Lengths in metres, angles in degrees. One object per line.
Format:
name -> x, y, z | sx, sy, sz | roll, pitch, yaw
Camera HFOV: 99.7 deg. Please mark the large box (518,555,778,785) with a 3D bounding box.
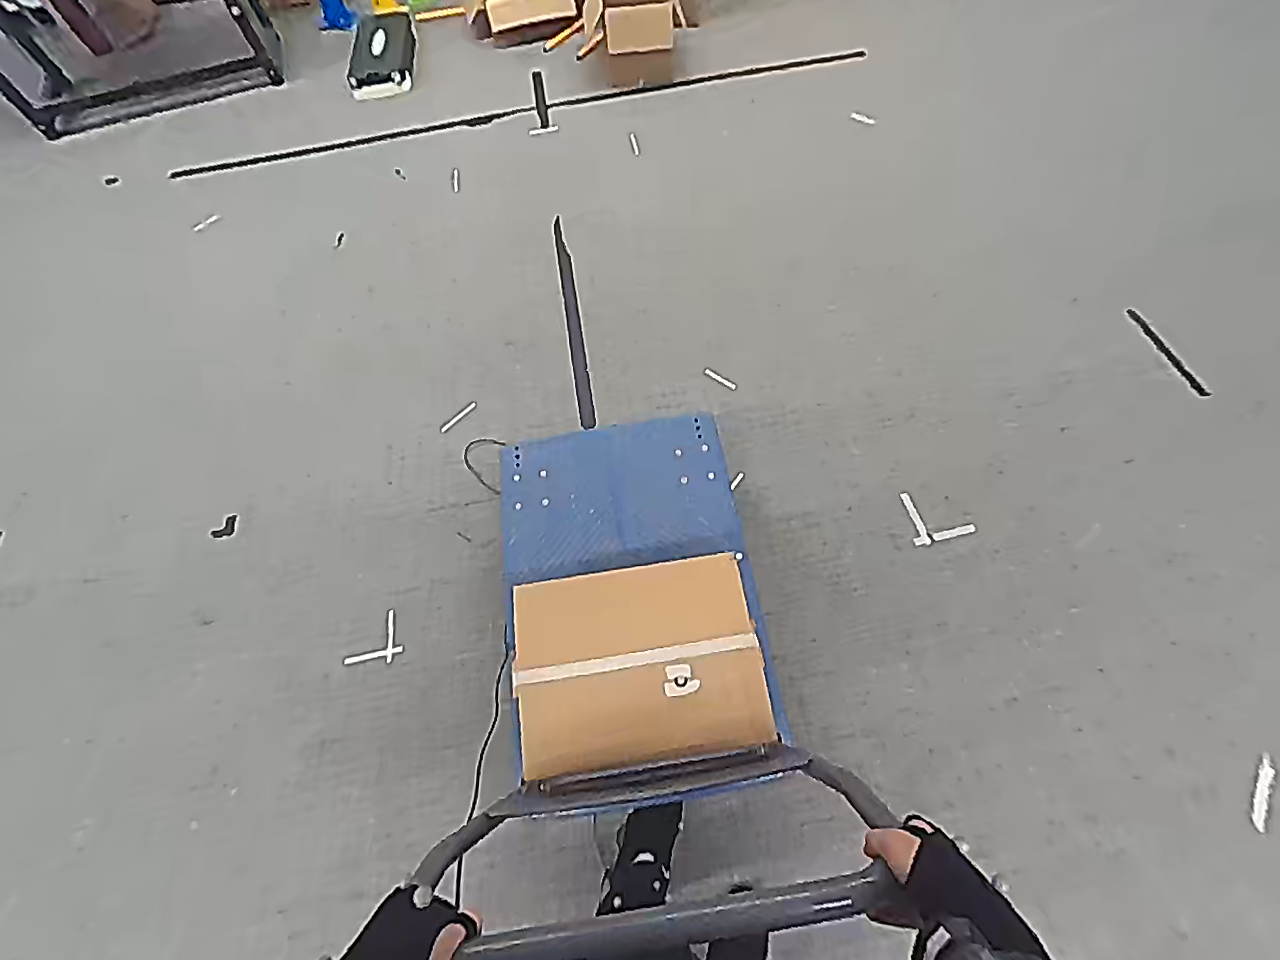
large box -> 0.006, 0.369, 1.048 | 0.408, 0.320, 0.320 | -9, 66, -2
